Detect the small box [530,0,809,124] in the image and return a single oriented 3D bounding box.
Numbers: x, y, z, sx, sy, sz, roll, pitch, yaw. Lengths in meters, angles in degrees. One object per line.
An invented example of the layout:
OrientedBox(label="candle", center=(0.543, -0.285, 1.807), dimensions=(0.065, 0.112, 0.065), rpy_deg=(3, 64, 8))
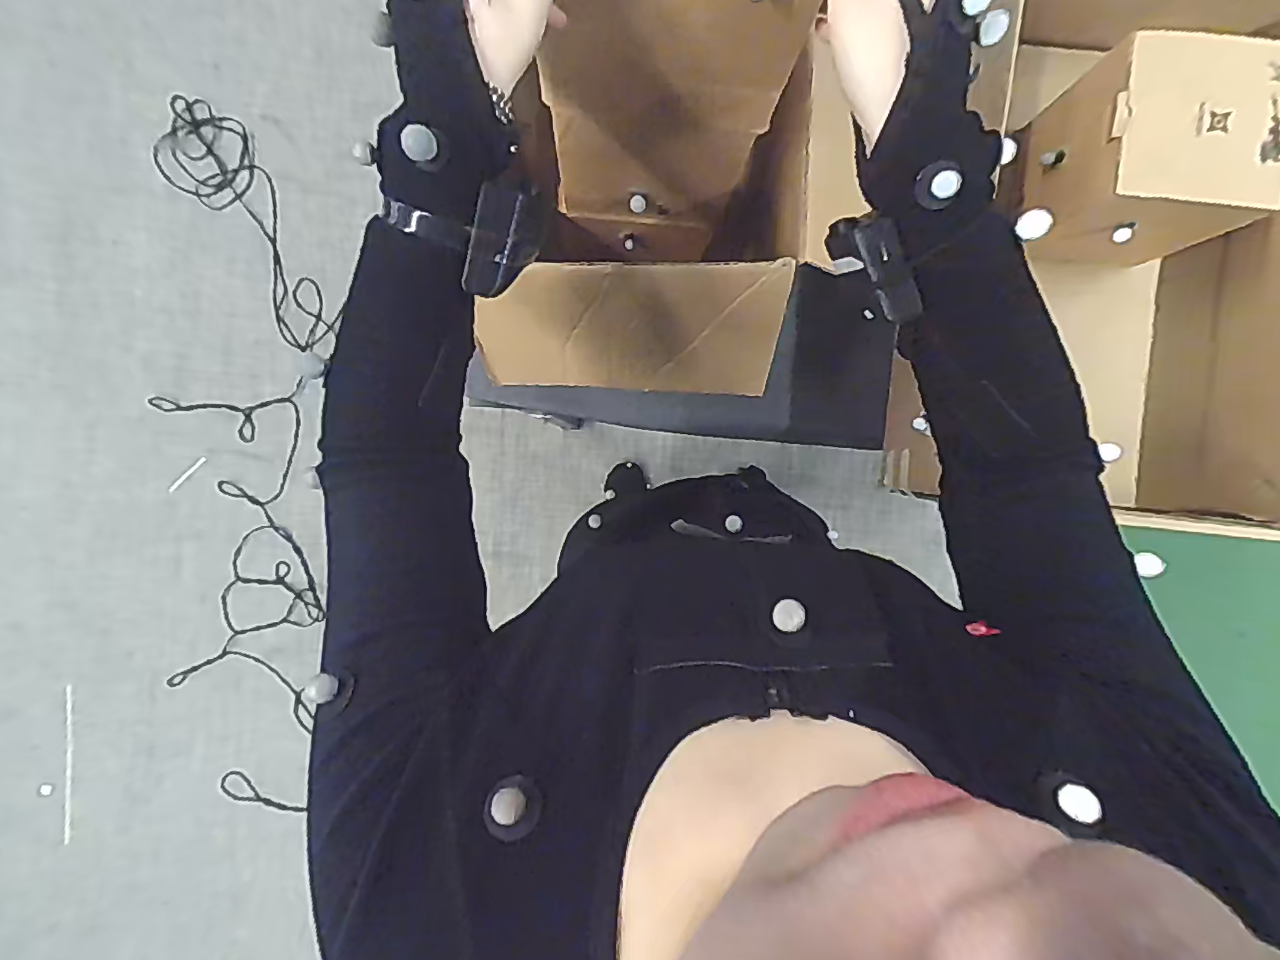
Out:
OrientedBox(label="small box", center=(0.022, -0.361, 0.340), dimensions=(0.179, 0.176, 0.168), rpy_deg=(5, 92, -5))
